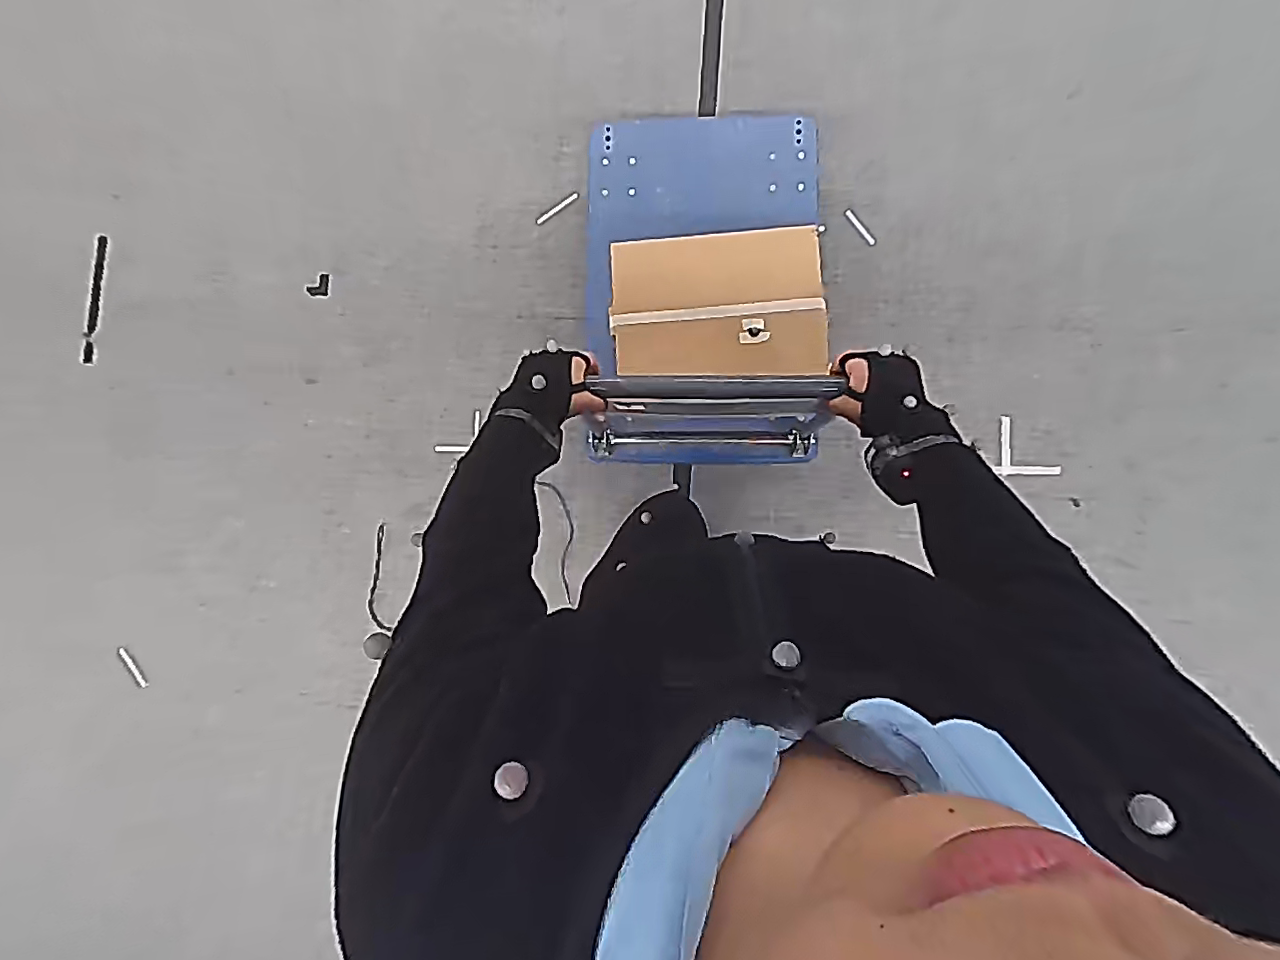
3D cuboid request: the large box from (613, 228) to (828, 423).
[{"bbox_3d":[0.162,-0.316,1.203,0.408,0.320,0.320,-4,88,3],"label":"large box"}]
